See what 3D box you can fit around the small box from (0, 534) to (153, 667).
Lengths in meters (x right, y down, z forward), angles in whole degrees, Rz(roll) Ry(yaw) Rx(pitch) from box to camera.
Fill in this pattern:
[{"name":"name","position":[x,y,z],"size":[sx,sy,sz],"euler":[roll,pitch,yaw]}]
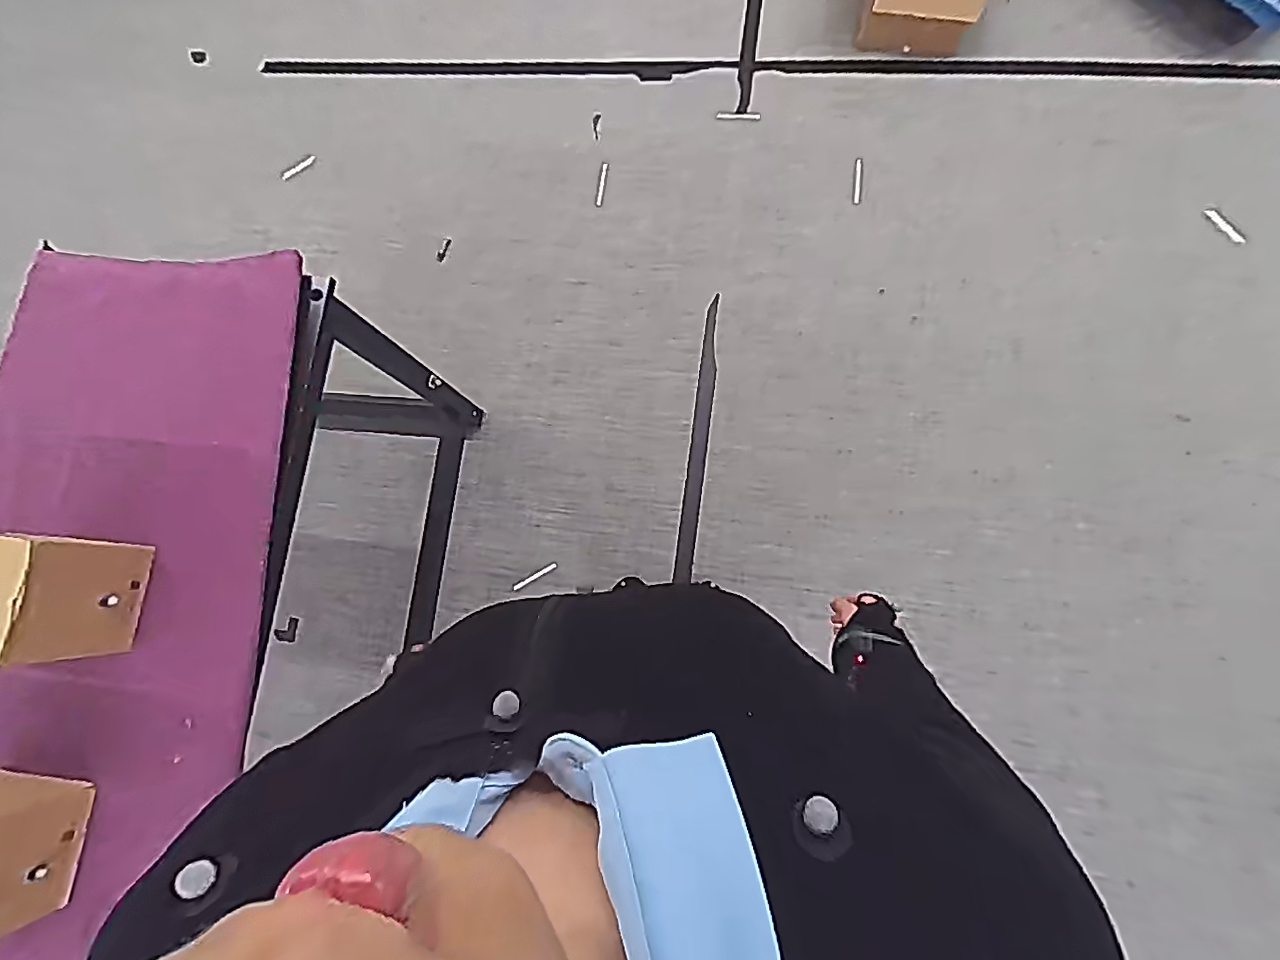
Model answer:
[{"name":"small box","position":[-0.883,0.169,0.787],"size":[0.179,0.176,0.168],"euler":[5,80,6]}]

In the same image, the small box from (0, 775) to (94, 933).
[{"name":"small box","position":[-0.915,0.515,0.725],"size":[0.179,0.176,0.168],"euler":[4,79,5]}]
